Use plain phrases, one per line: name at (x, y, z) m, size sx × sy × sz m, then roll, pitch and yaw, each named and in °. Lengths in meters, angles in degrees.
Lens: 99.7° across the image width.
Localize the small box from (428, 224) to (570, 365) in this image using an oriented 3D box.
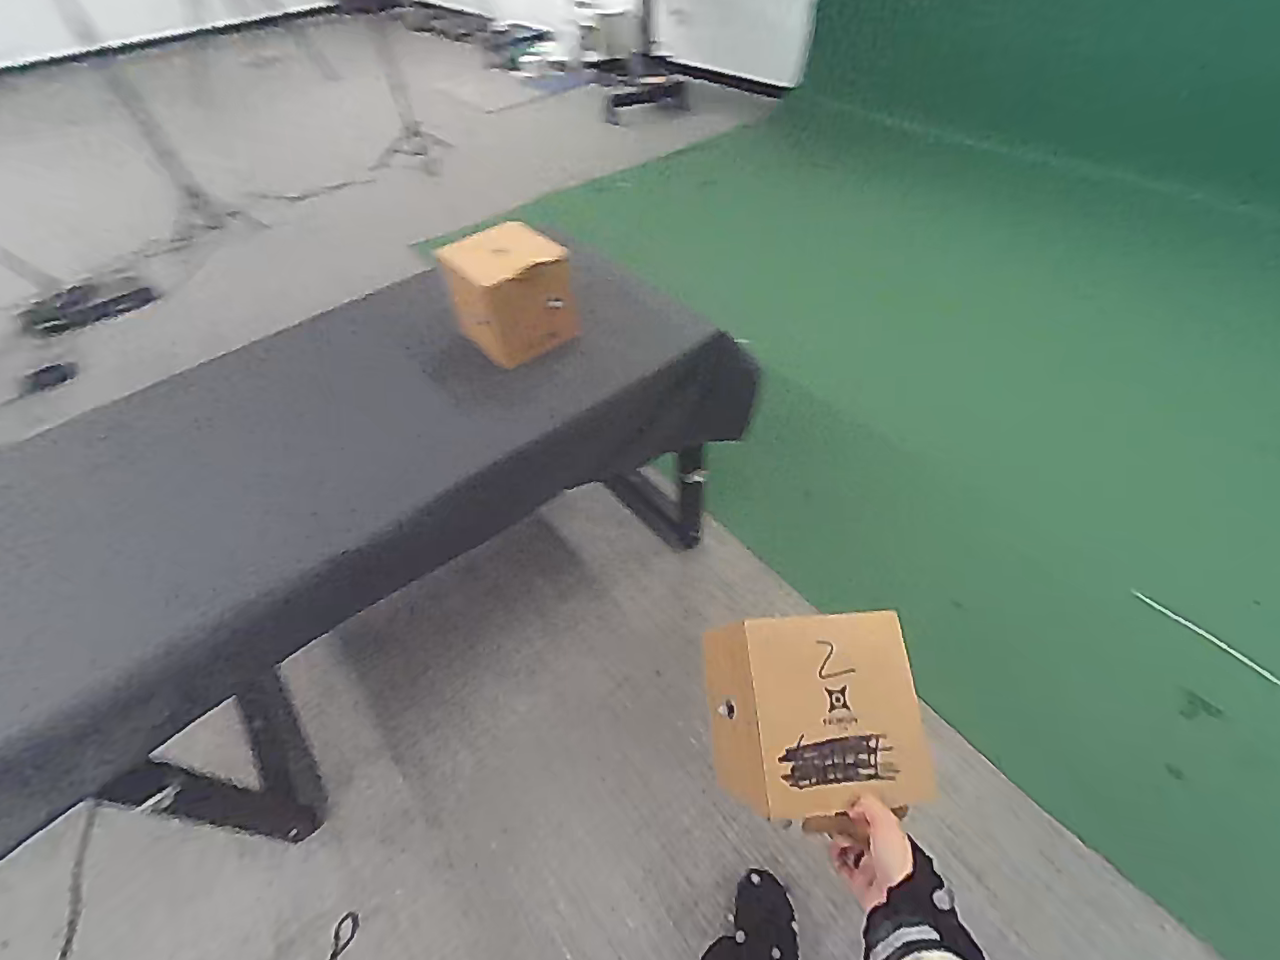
small box at (-0.247, -0.333, 0.985) m, size 0.168 × 0.176 × 0.179 m, roll -35°, pitch 55°, yaw -24°
